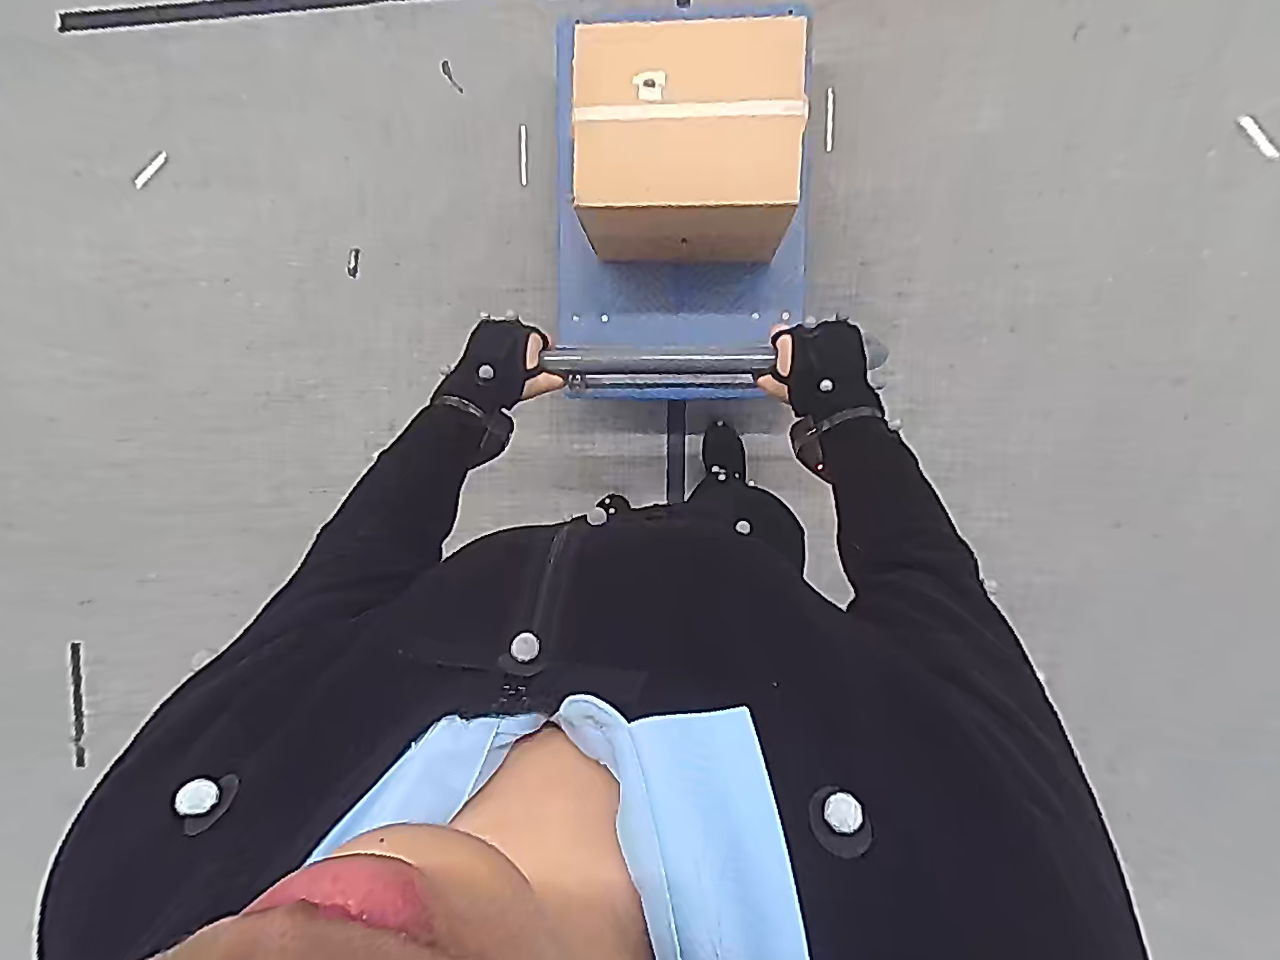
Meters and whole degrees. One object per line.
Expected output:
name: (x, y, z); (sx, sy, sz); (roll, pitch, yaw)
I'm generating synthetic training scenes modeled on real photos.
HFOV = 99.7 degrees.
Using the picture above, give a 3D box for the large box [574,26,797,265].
large box: (0.094, -0.652, 1.118); (0.408, 0.320, 0.320); (1, 93, 5)
